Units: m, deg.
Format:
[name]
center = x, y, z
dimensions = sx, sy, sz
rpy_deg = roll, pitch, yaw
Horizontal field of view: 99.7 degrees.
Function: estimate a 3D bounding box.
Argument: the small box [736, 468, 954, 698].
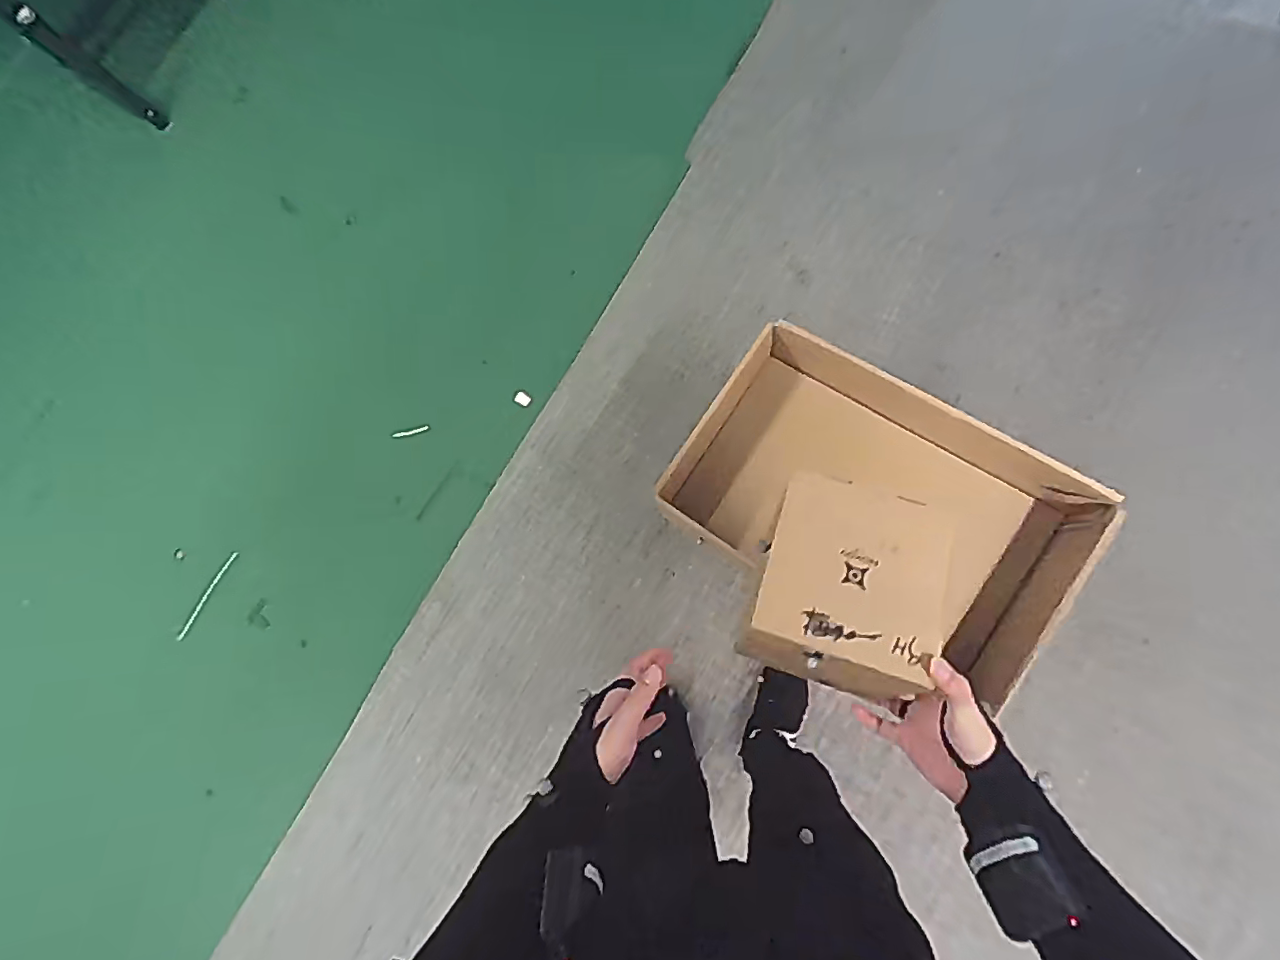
[small box]
center = 0.210, 0.118, 0.590
dimensions = 0.168, 0.176, 0.179
rpy_deg = 18, 66, 12
